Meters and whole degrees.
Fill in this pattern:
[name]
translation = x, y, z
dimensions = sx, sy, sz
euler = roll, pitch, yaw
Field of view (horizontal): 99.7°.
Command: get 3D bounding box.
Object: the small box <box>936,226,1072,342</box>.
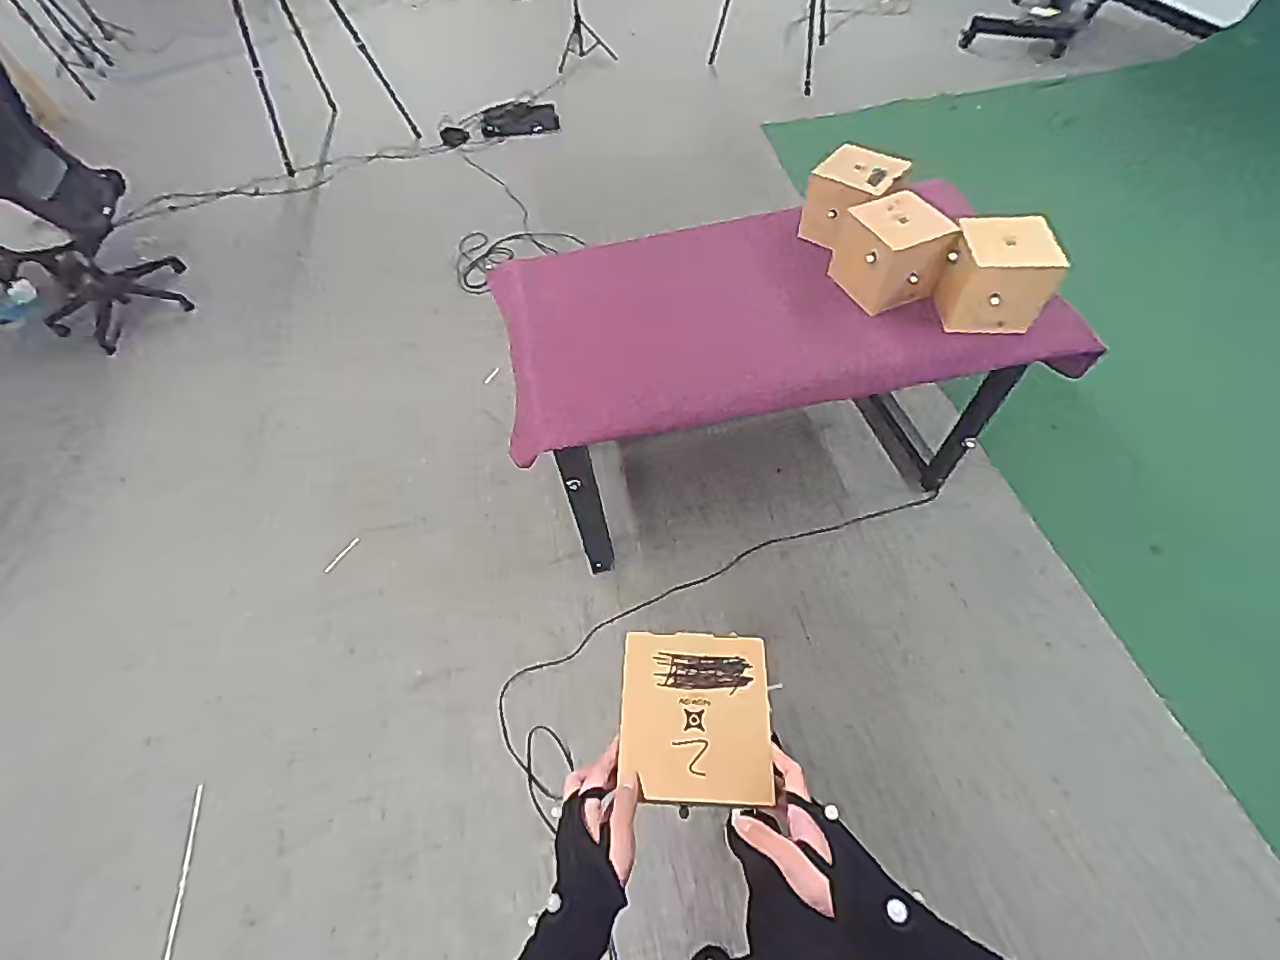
[small box]
translation = 0.754, -0.410, 1.143
dimensions = 0.168, 0.176, 0.179
euler = 3, 54, 7
